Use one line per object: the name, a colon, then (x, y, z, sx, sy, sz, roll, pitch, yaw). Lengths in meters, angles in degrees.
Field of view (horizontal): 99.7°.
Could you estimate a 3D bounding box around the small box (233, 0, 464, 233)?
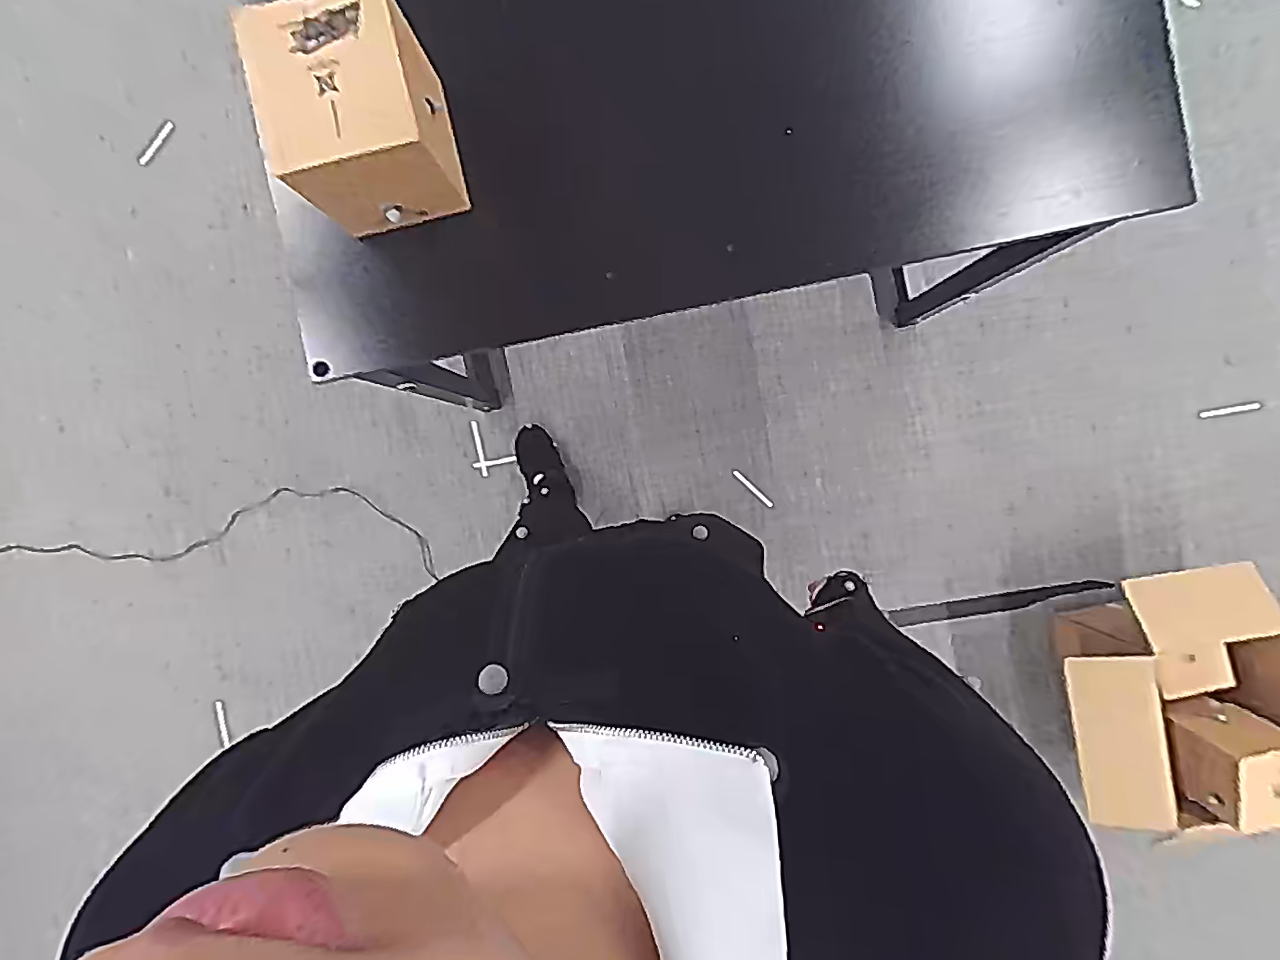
small box: (-0.334, -0.432, 0.655, 0.168, 0.176, 0.179, -13, 93, 2)
